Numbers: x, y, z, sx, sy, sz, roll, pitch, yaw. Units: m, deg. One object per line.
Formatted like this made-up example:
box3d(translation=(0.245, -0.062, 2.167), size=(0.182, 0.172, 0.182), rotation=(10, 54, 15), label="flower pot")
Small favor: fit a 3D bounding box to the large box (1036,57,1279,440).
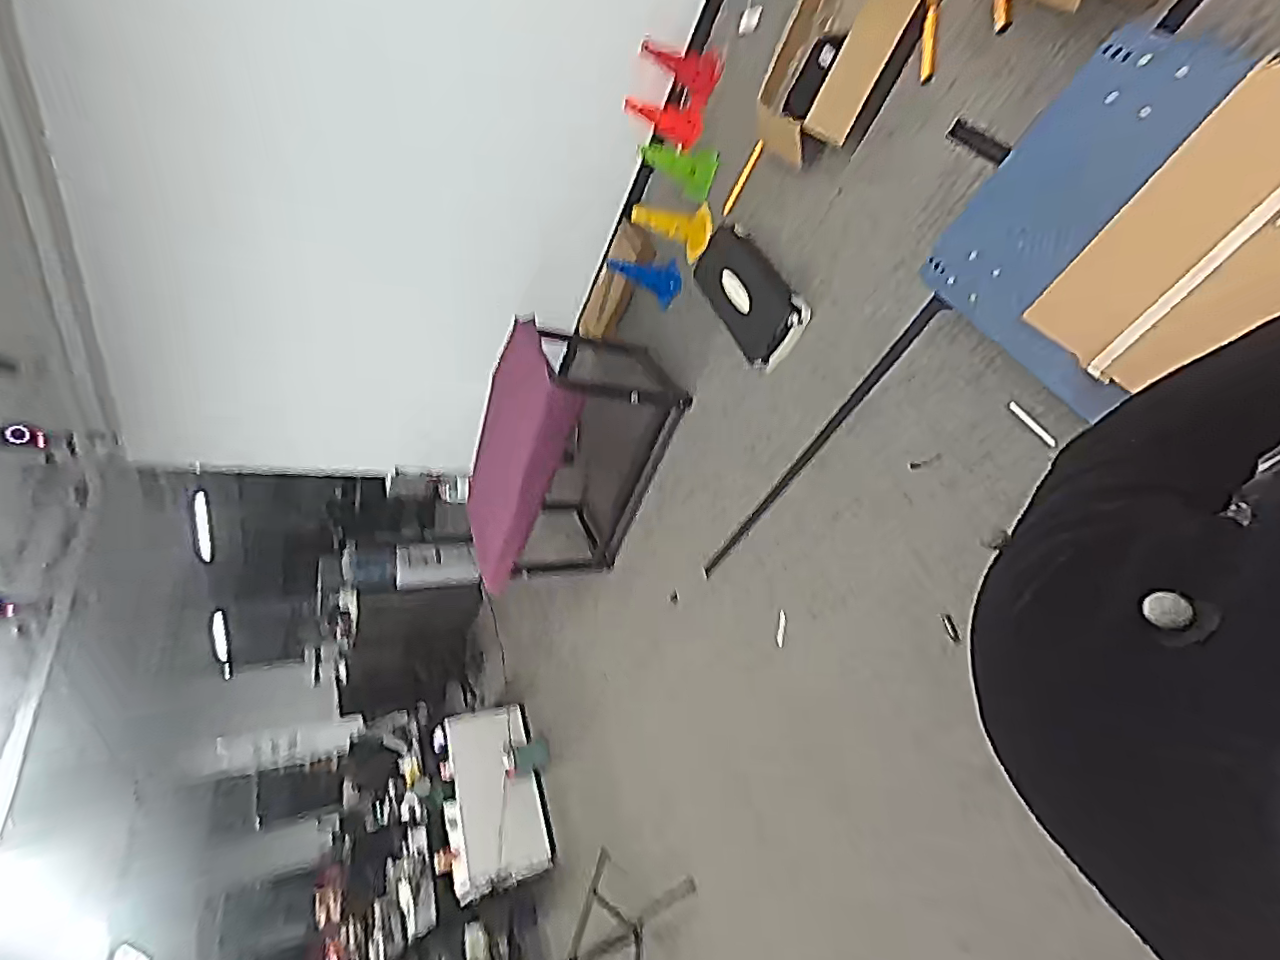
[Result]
box3d(translation=(0.952, -0.319, 0.830), size=(0.408, 0.320, 0.320), rotation=(-60, 42, 35), label="large box")
